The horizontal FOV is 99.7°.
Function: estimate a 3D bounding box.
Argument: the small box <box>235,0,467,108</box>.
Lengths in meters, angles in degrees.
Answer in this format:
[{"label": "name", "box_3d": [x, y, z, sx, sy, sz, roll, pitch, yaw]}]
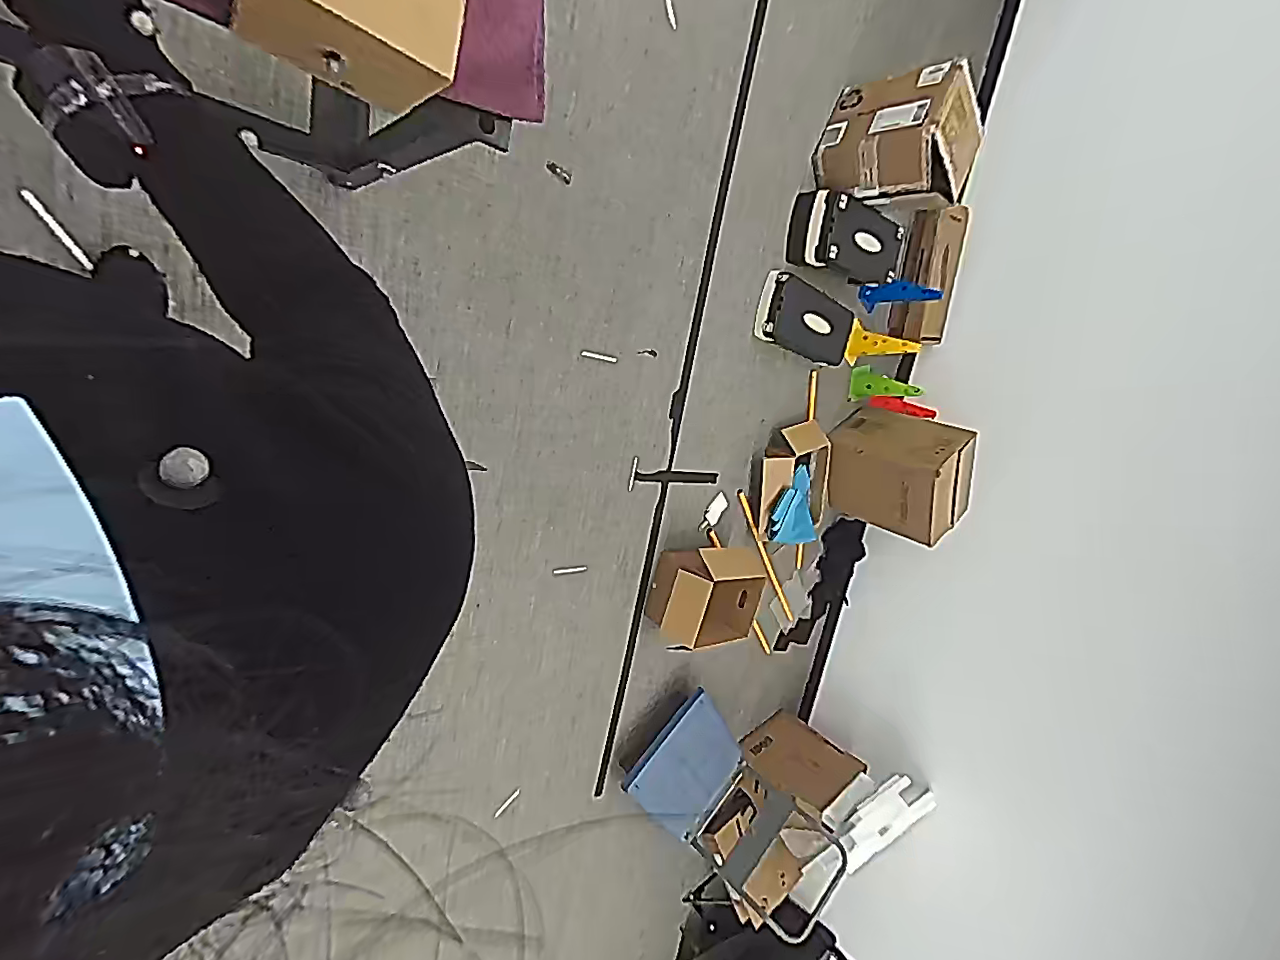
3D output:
[{"label": "small box", "box_3d": [-0.276, -0.503, 0.523, 0.168, 0.176, 0.179, 5, 101, -44]}]
